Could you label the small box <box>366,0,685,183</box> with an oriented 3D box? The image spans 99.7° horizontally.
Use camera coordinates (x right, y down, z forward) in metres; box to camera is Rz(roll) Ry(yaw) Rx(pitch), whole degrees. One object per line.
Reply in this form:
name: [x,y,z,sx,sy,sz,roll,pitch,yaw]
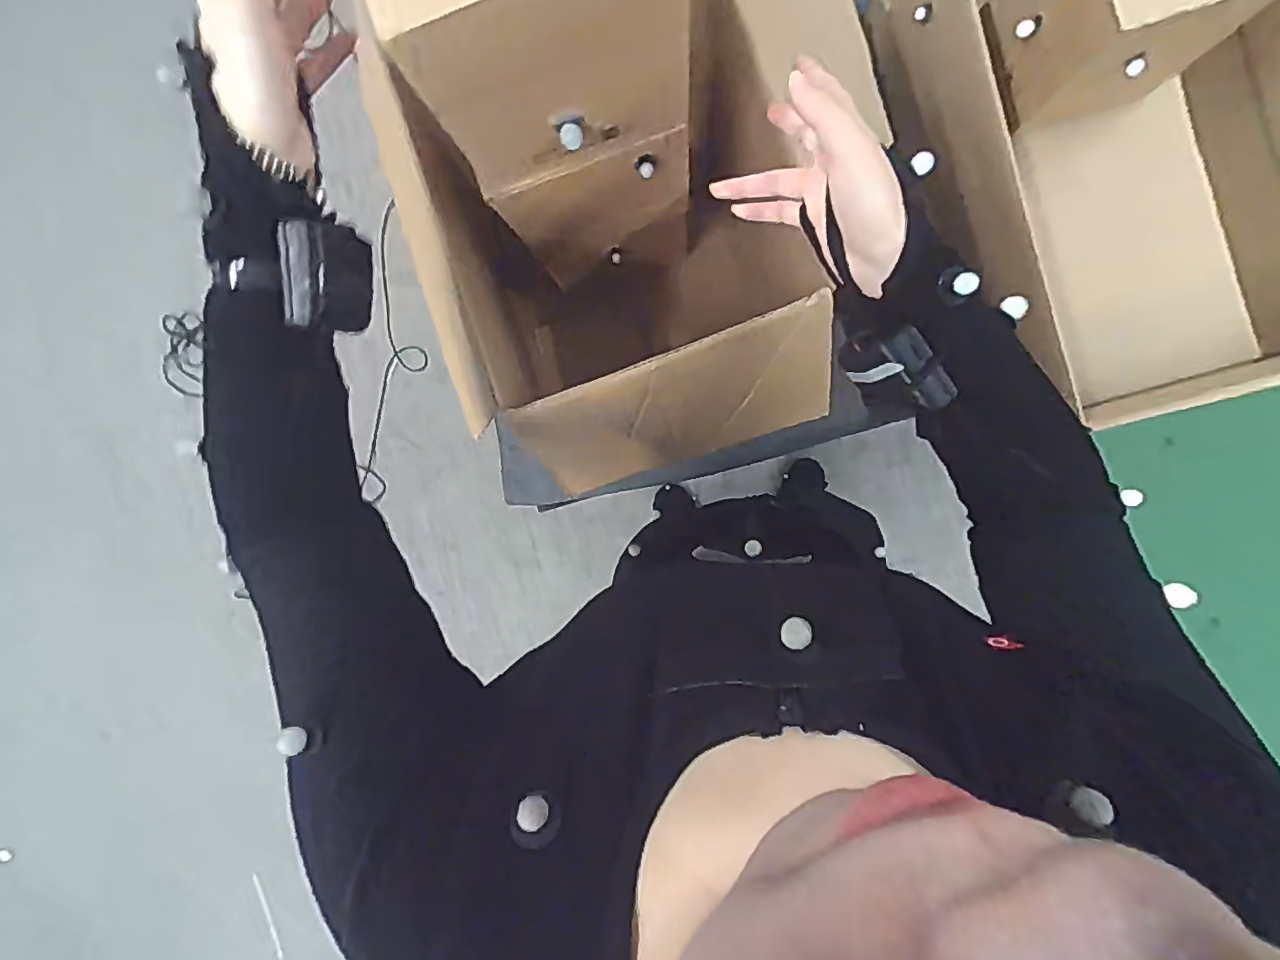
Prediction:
small box: [-0.073,-0.333,0.344,0.168,0.176,0.179,-17,94,6]
